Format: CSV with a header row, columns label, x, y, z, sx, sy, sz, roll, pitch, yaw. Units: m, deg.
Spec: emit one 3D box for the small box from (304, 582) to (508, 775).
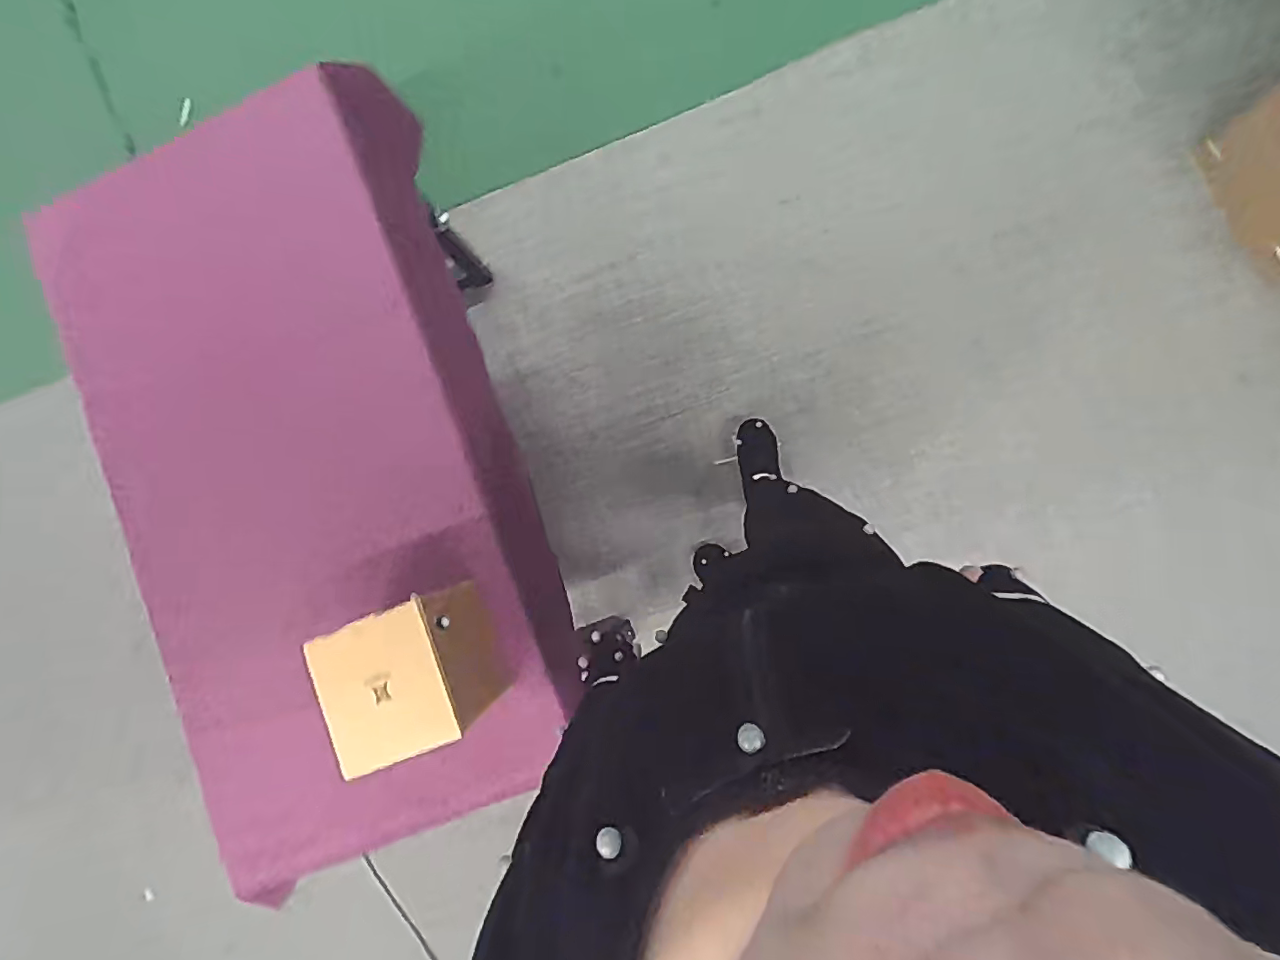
label,x,y,z,sx,sy,sz,roll,pitch,yaw
small box,-0.304,0.257,0.739,0.168,0.176,0.179,-23,84,6
